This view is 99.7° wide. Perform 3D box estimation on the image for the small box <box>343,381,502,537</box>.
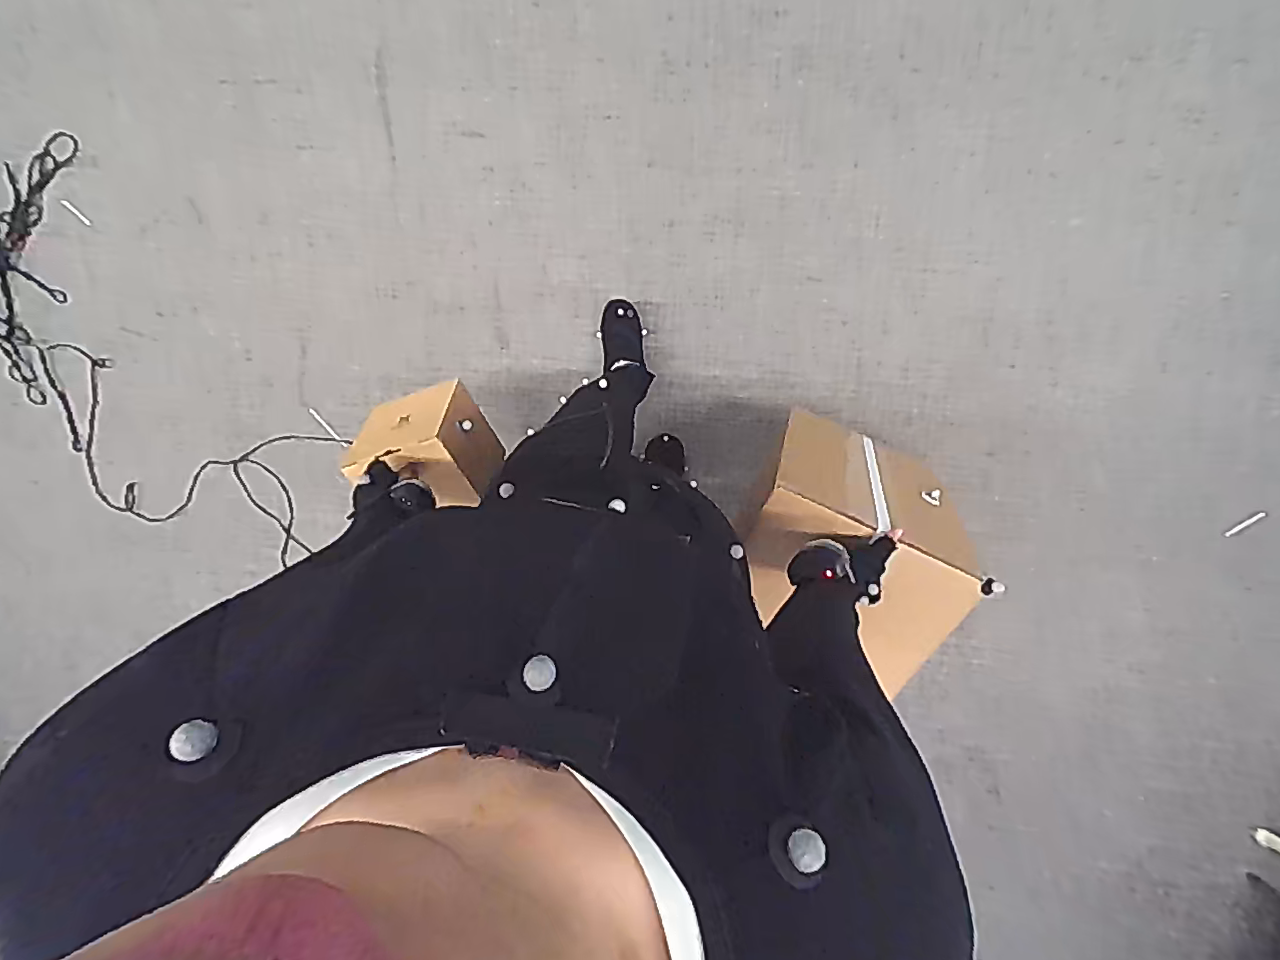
[{"bbox_3d":[-0.349,-0.035,0.909,0.168,0.179,0.176,-17,129,9],"label":"small box"}]
